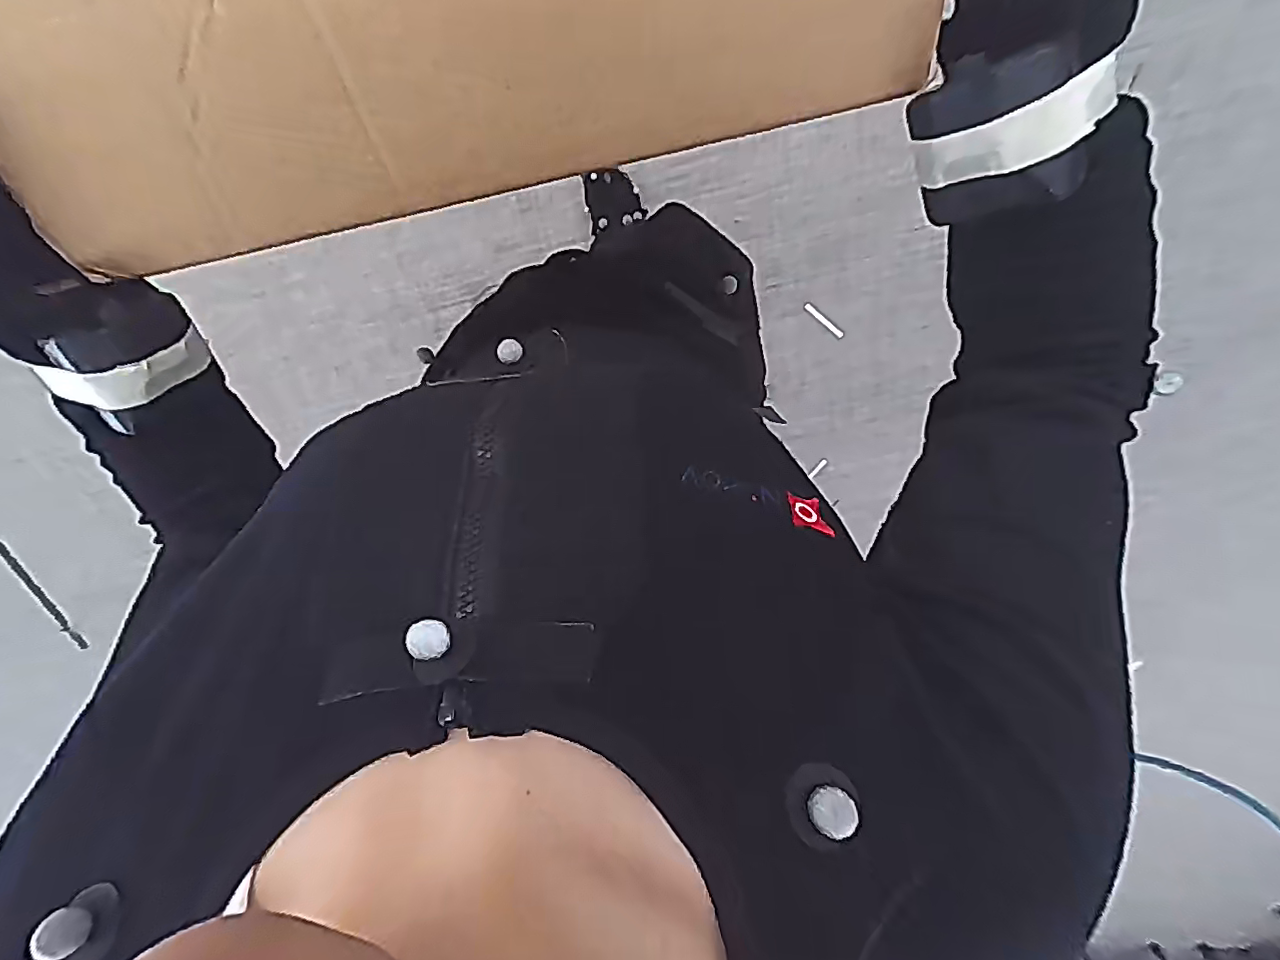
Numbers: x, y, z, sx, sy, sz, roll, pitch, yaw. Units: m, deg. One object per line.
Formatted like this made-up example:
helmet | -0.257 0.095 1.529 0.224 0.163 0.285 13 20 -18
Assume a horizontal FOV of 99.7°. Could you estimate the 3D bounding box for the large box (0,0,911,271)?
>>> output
large box | -0.116 -0.352 0.245 0.408 0.320 0.320 -10 138 5
